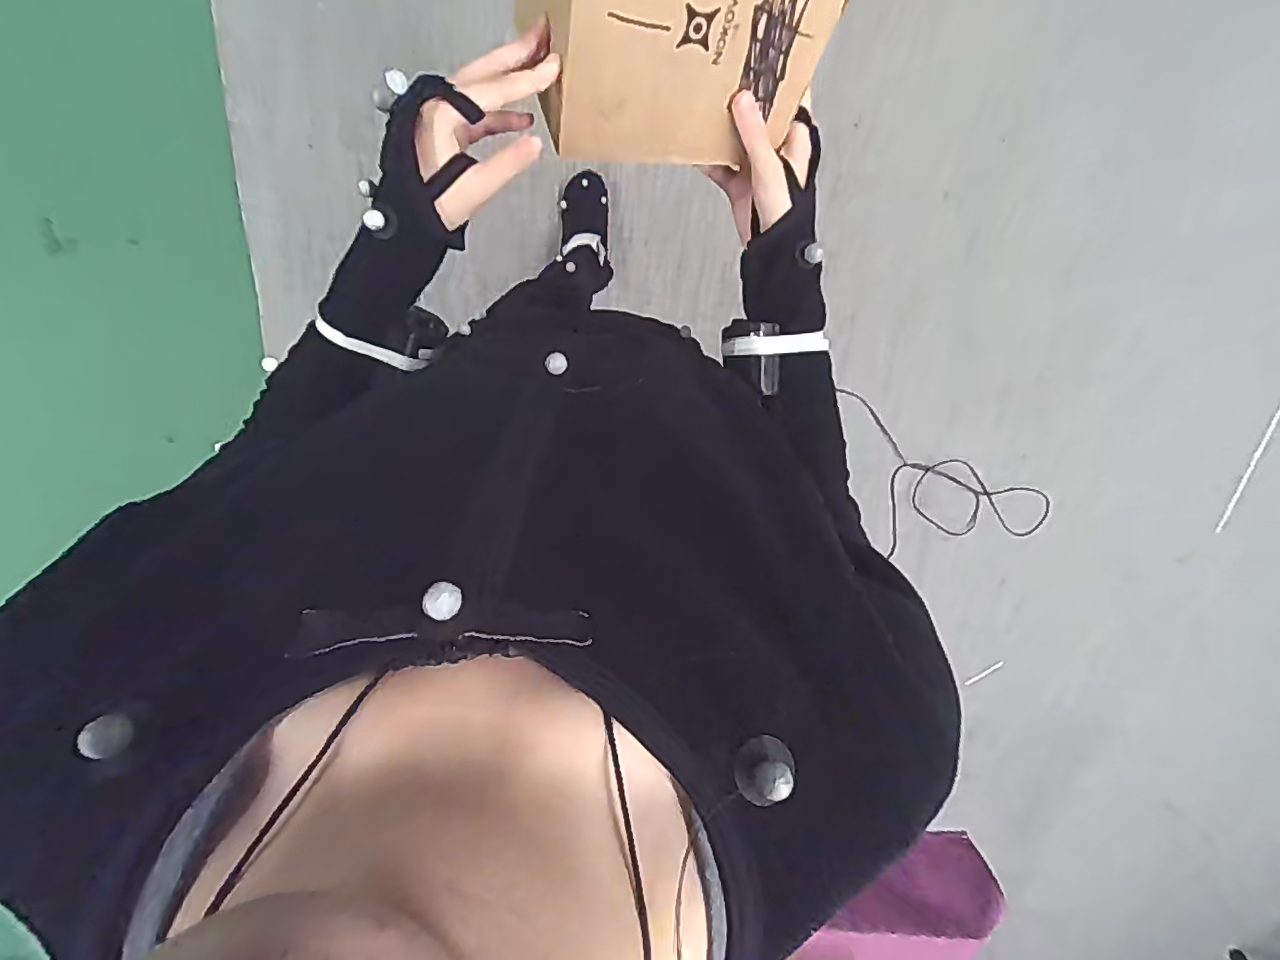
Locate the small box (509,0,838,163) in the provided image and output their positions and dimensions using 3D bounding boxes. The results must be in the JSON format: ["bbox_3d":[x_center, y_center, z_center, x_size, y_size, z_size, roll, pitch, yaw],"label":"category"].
[{"bbox_3d":[0.015,-0.346,0.359,0.179,0.176,0.168,-7,154,-19],"label":"small box"}]
